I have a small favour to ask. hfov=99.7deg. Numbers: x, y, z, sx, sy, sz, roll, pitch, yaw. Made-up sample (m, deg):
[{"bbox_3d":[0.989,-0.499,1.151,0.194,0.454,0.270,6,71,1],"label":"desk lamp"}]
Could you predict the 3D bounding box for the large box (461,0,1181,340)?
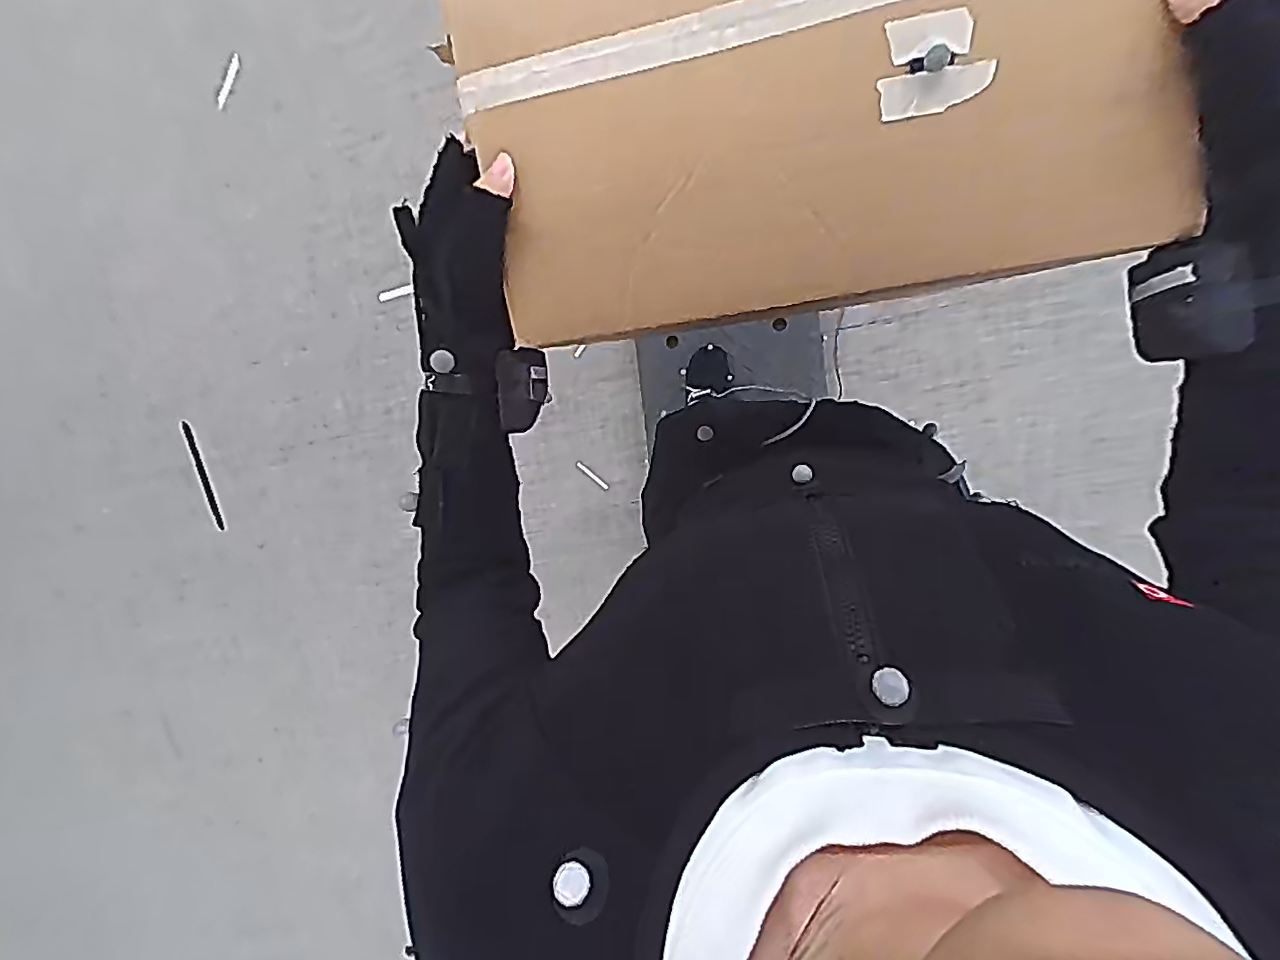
[{"bbox_3d":[0.109,-0.309,0.459,0.408,0.320,0.320,-7,104,10],"label":"large box"}]
